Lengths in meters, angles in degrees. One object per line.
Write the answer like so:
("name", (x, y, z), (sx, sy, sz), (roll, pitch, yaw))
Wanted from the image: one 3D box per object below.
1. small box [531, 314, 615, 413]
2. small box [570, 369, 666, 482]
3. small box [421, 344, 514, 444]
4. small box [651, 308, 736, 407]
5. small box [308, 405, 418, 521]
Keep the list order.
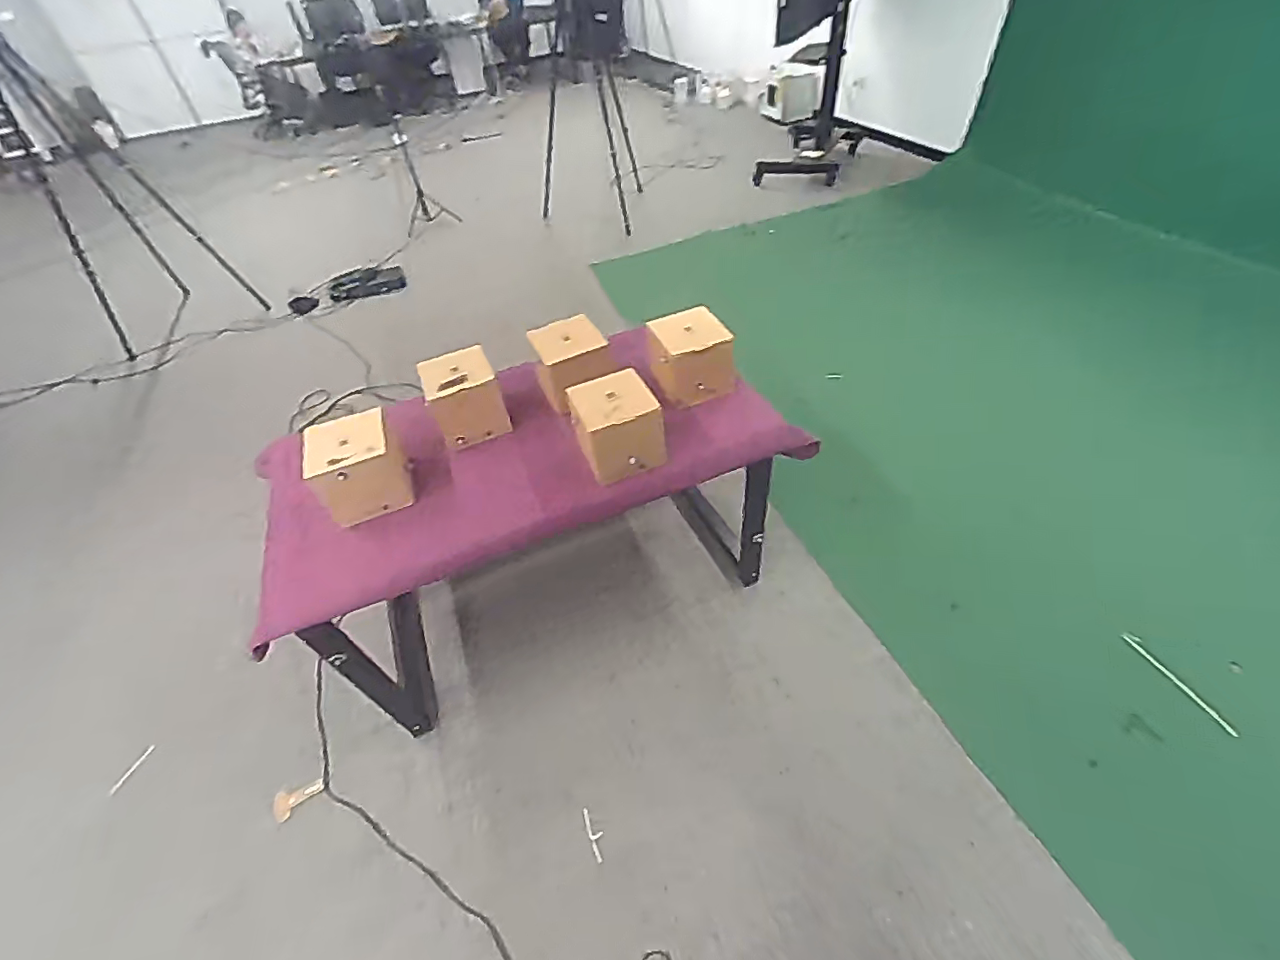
("small box", (-0.174, -0.308, 1.437), (0.168, 0.176, 0.179), (-22, 49, -12))
("small box", (-0.049, -0.125, 1.248), (0.168, 0.176, 0.179), (-20, 47, -11))
("small box", (-0.435, -0.212, 1.377), (0.168, 0.176, 0.179), (-21, 48, -13))
("small box", (0.136, -0.318, 1.410), (0.168, 0.176, 0.179), (-19, 48, -10))
("small box", (-0.625, -0.037, 1.232), (0.168, 0.176, 0.179), (-21, 48, -11))
